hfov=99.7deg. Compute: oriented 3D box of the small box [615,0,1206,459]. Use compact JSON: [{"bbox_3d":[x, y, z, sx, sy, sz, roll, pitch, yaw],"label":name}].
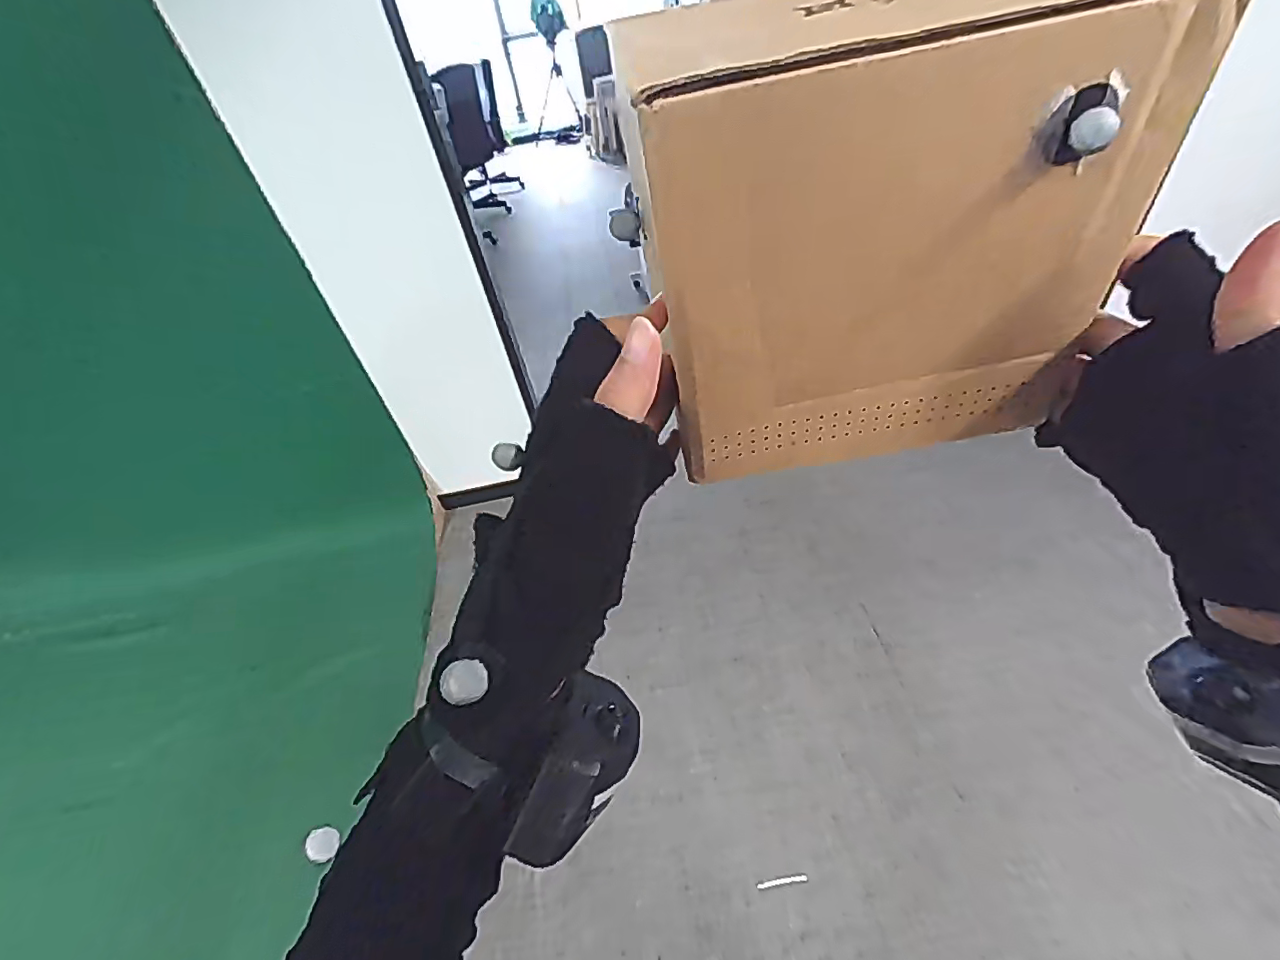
[{"bbox_3d":[0.091,-0.128,0.271,0.179,0.176,0.168,-9,46,3],"label":"small box"}]
